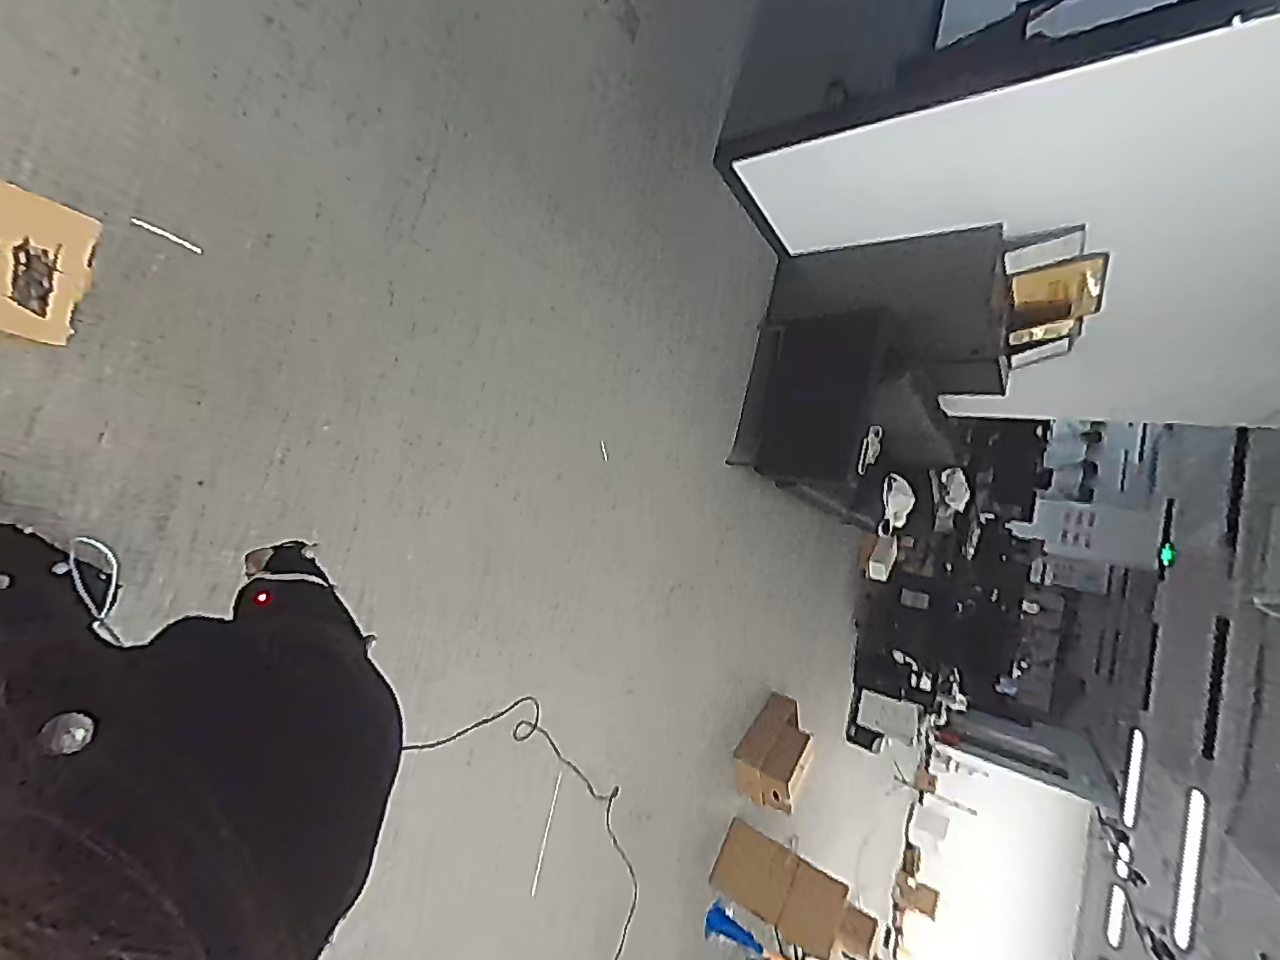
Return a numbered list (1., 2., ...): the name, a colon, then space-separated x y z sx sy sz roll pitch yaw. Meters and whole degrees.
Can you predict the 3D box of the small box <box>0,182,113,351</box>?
1. small box: -0.799 -0.268 0.662 0.179 0.176 0.168 18 83 -51
